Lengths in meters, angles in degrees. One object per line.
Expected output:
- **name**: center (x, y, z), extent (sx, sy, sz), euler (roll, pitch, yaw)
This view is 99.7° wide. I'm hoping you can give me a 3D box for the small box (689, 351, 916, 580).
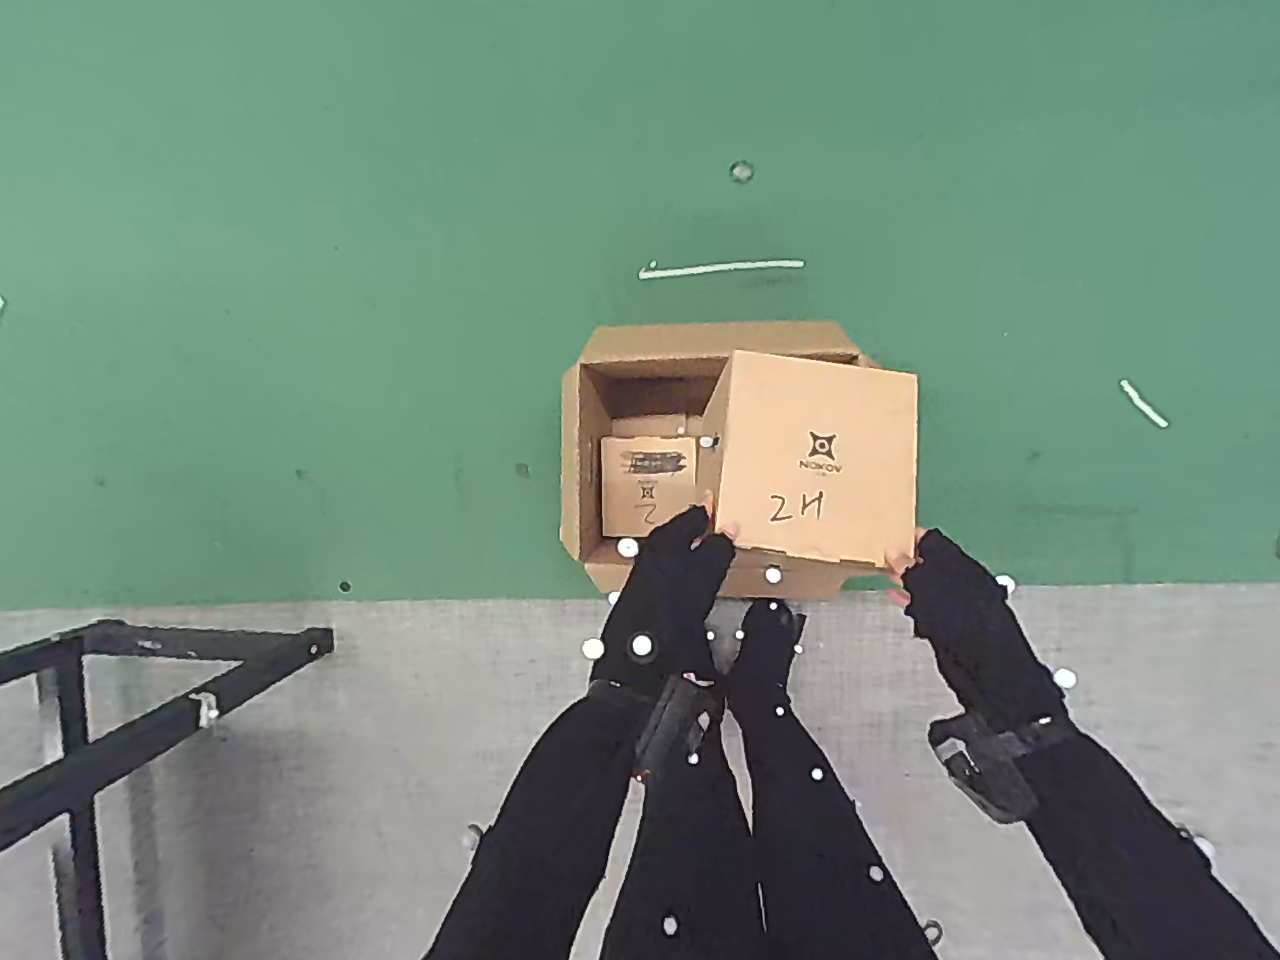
- **small box**: center (0.146, -0.001, 0.535), extent (0.168, 0.176, 0.179), euler (9, 78, -1)
